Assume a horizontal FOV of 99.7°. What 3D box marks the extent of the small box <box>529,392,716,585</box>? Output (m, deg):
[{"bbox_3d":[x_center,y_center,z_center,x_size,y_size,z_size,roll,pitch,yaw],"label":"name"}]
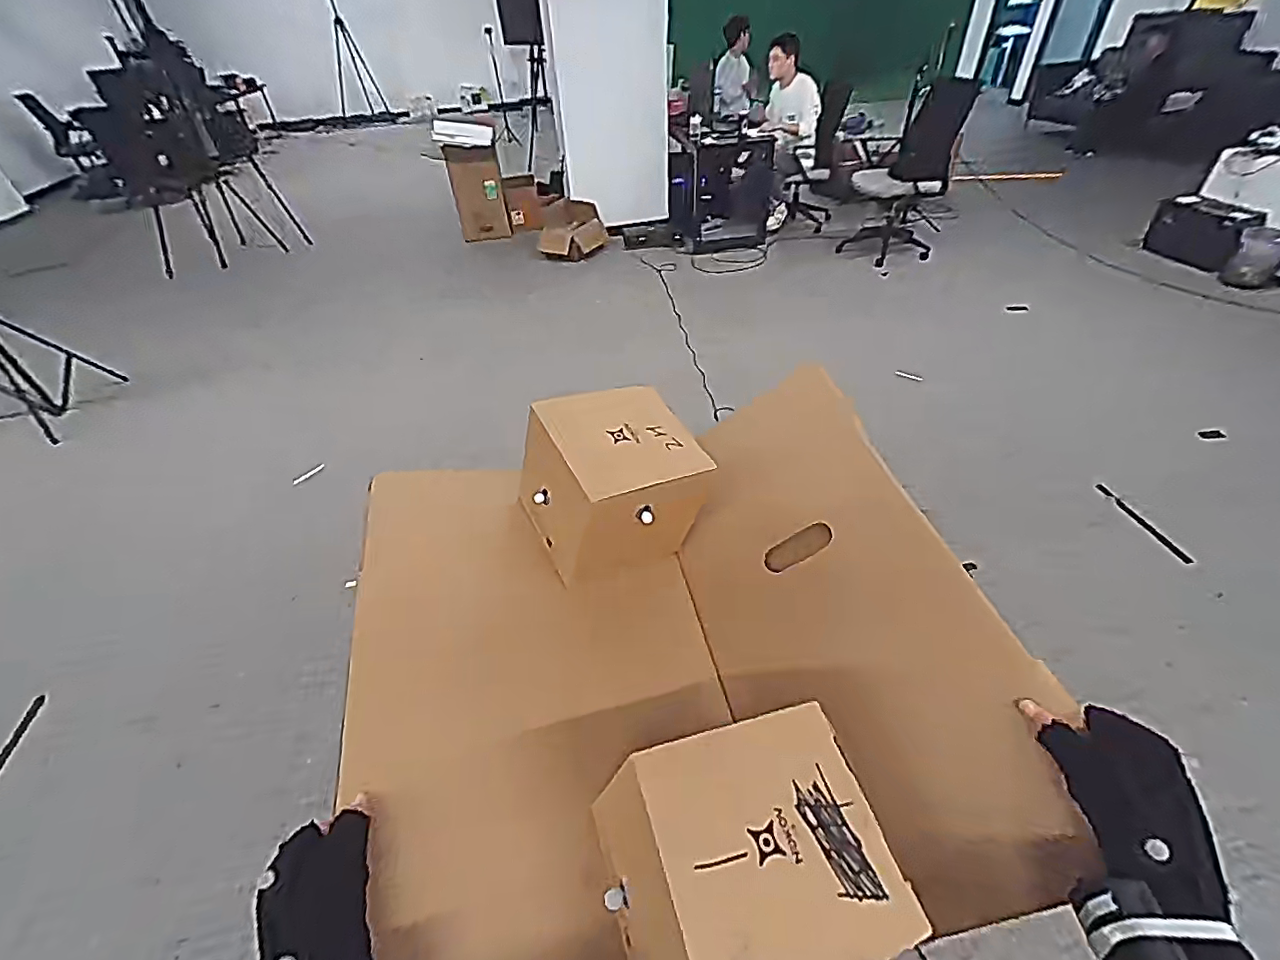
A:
[{"bbox_3d":[-0.036,0.011,0.701,0.179,0.176,0.168,-14,53,-30],"label":"small box"}]
